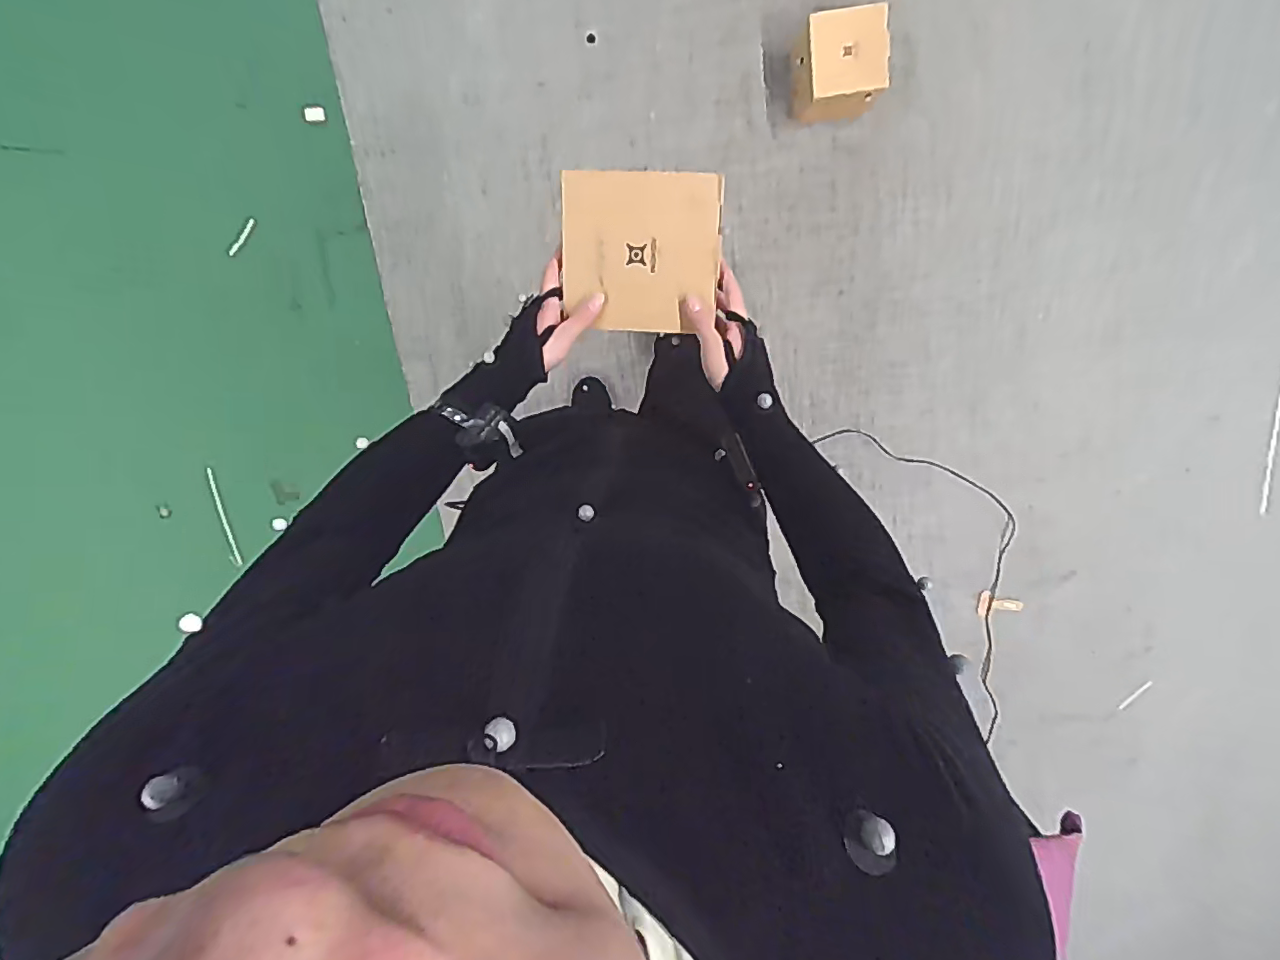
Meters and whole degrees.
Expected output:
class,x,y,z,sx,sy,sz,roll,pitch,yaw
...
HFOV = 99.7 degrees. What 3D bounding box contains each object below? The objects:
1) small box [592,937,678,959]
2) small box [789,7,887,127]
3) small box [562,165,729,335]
class,x,y,z,sx,sy,sz,roll,pitch,yaw
small box,-0.005,1.047,1.066,0.179,0.176,0.168,-3,106,-1
small box,0.459,-0.963,1.278,0.179,0.176,0.168,-8,105,1
small box,0.007,-0.270,0.664,0.179,0.176,0.168,4,106,3
